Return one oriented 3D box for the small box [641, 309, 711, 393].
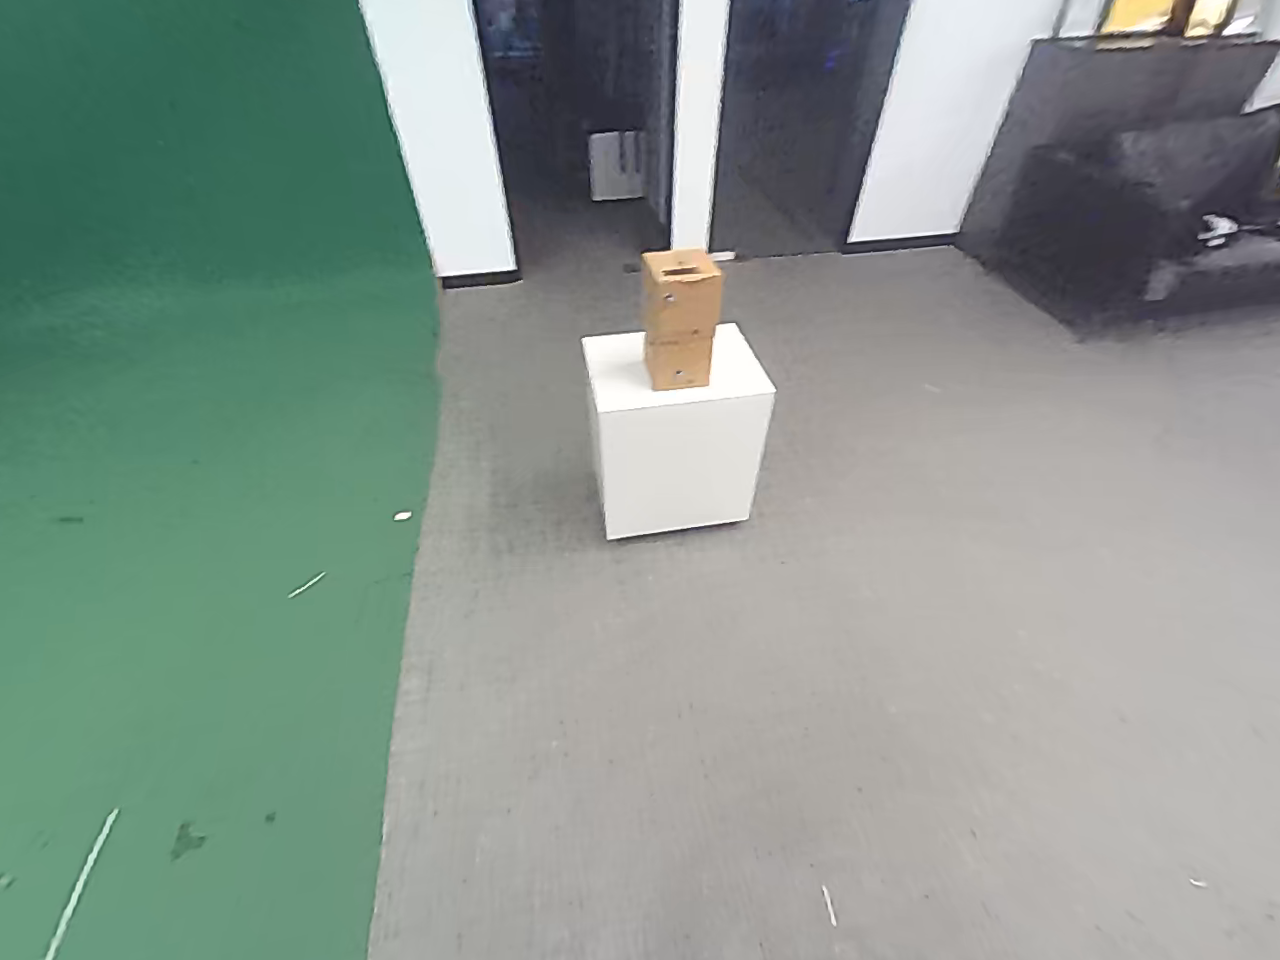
[{"bbox_3d":[0.096,-0.369,1.546,0.168,0.176,0.179,-8,44,-8],"label":"small box"}]
